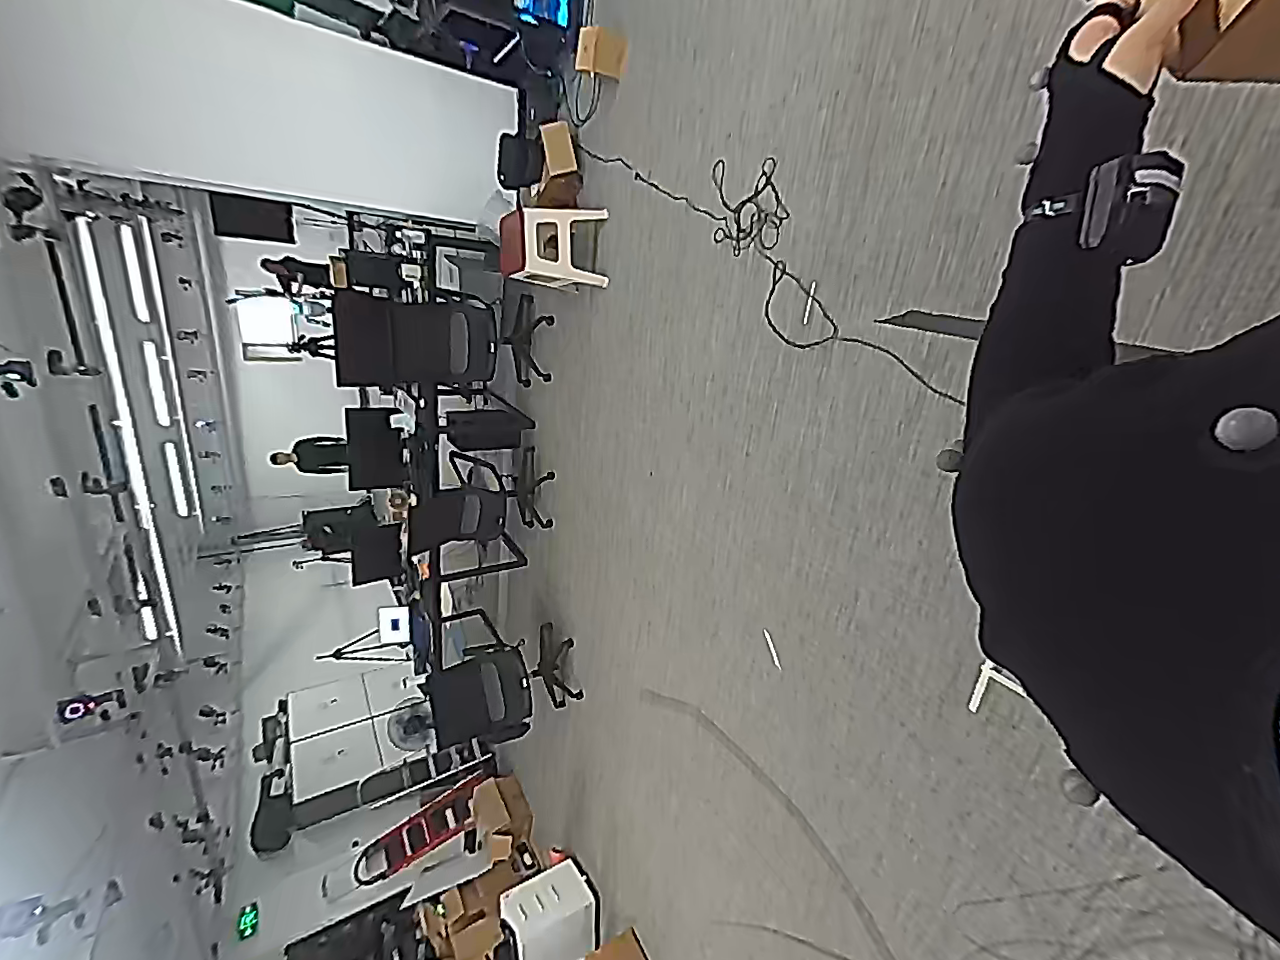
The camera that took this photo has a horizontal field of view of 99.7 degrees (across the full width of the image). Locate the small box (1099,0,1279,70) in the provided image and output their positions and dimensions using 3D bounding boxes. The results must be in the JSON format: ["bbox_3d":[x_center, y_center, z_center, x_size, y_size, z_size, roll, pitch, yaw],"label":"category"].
[{"bbox_3d":[0.443,-0.417,0.362,0.179,0.176,0.168,117,136,-62],"label":"small box"}]
